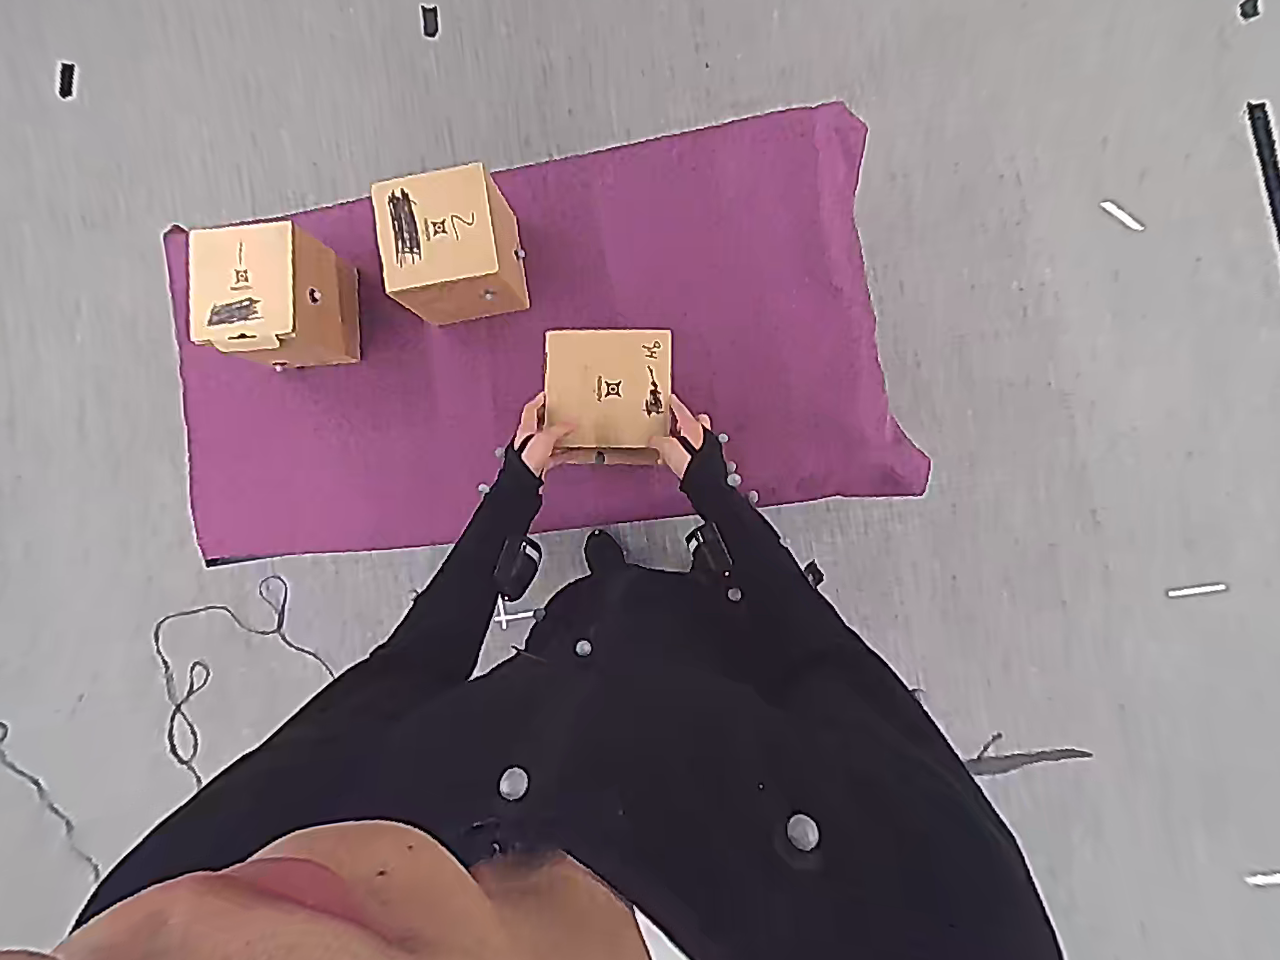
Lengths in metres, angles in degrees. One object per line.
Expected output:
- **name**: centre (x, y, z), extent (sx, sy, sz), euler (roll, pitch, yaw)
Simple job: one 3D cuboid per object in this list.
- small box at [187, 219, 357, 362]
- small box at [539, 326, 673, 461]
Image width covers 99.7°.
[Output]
- **small box**: centre (-0.587, -0.295, 0.883), extent (0.168, 0.176, 0.179), euler (-3, 88, 4)
- **small box**: centre (-0.041, -0.119, 0.803), extent (0.179, 0.176, 0.168), euler (1, 86, 3)
